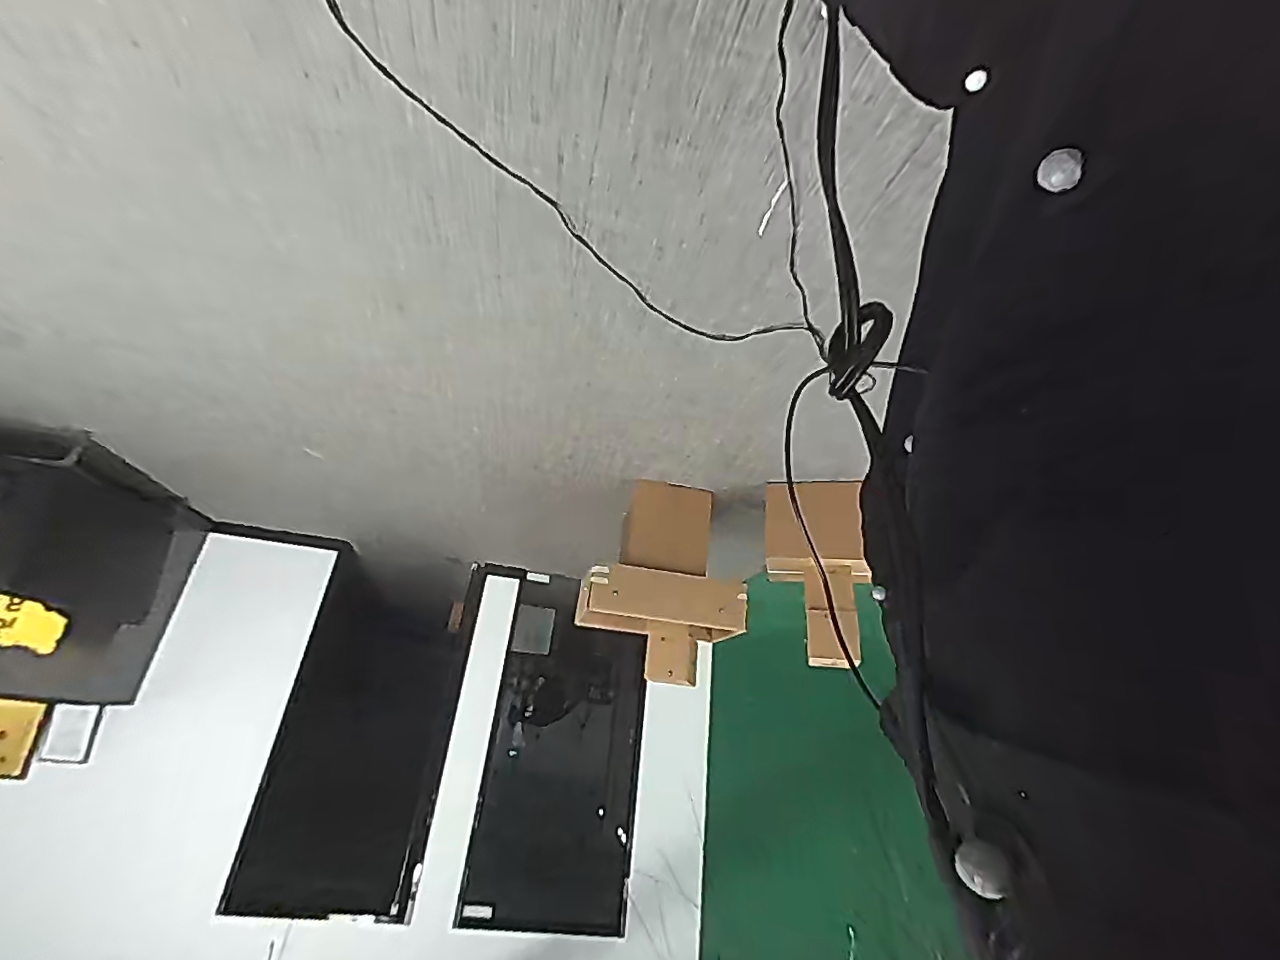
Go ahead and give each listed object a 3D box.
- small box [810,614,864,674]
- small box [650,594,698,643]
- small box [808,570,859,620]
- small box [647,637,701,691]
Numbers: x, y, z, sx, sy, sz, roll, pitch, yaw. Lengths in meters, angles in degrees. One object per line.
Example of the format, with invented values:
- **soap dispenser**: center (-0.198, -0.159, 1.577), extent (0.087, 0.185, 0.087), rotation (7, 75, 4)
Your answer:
- **small box**: center (0.688, 0.578, 1.902), extent (0.168, 0.176, 0.179), rotation (-1, 153, 16)
- **small box**: center (0.139, 0.555, 2.143), extent (0.168, 0.176, 0.179), rotation (2, 155, 13)
- **small box**: center (0.709, 0.436, 1.982), extent (0.168, 0.176, 0.179), rotation (-3, 153, 20)
- **small box**: center (0.134, 0.706, 2.079), extent (0.168, 0.176, 0.179), rotation (-1, 154, 18)
